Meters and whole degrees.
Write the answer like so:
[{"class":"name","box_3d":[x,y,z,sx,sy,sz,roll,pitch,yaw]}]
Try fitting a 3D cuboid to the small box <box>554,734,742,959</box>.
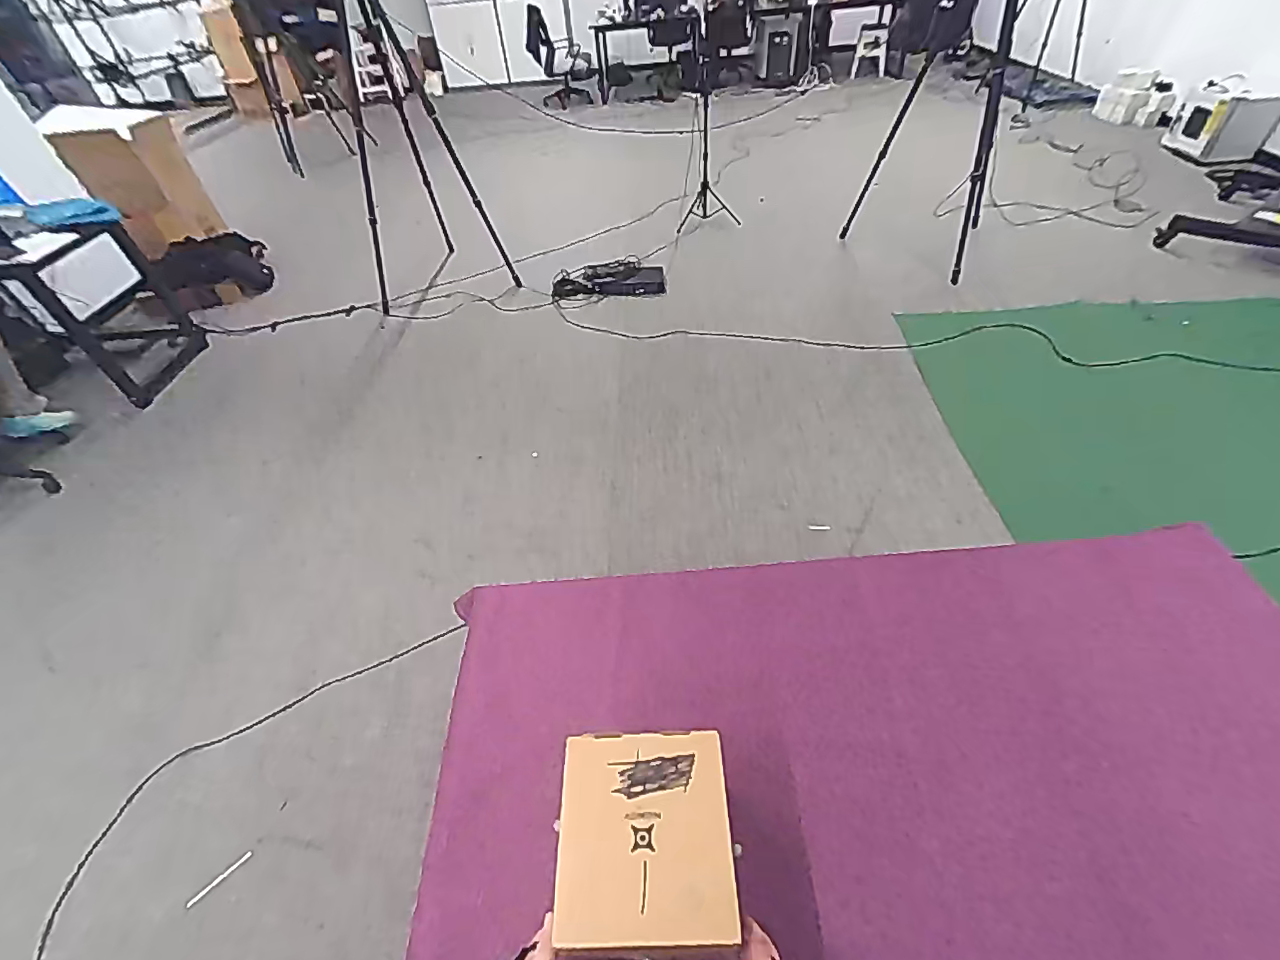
[{"class":"small box","box_3d":[0.011,0.393,0.579,0.168,0.176,0.179,-4,46,3]}]
